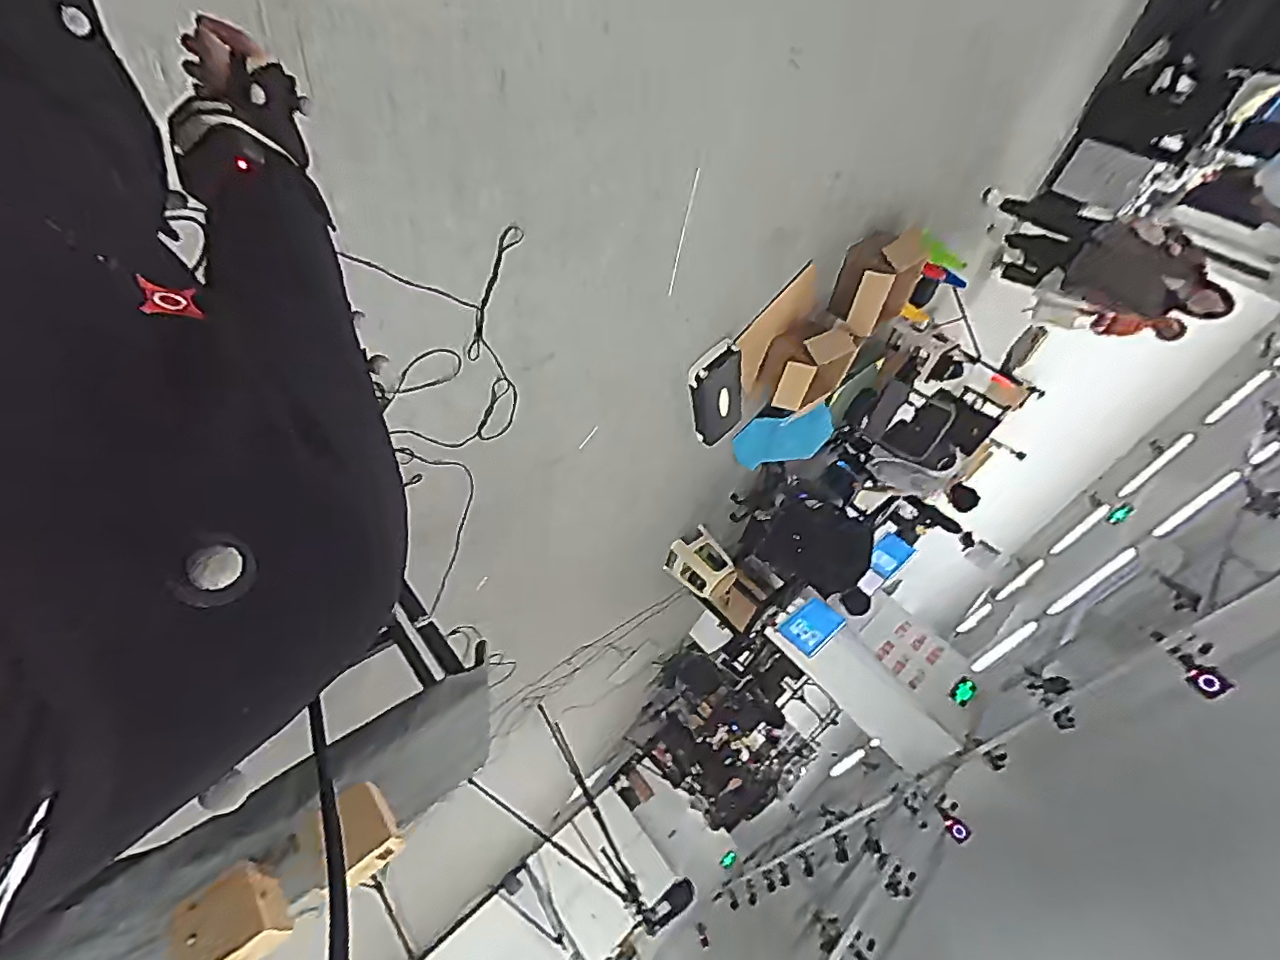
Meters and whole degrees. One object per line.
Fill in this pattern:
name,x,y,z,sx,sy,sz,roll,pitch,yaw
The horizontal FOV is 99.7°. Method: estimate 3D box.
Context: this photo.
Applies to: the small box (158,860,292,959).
small box,-0.930,0.995,1.215,0.168,0.176,0.179,-30,151,-28
